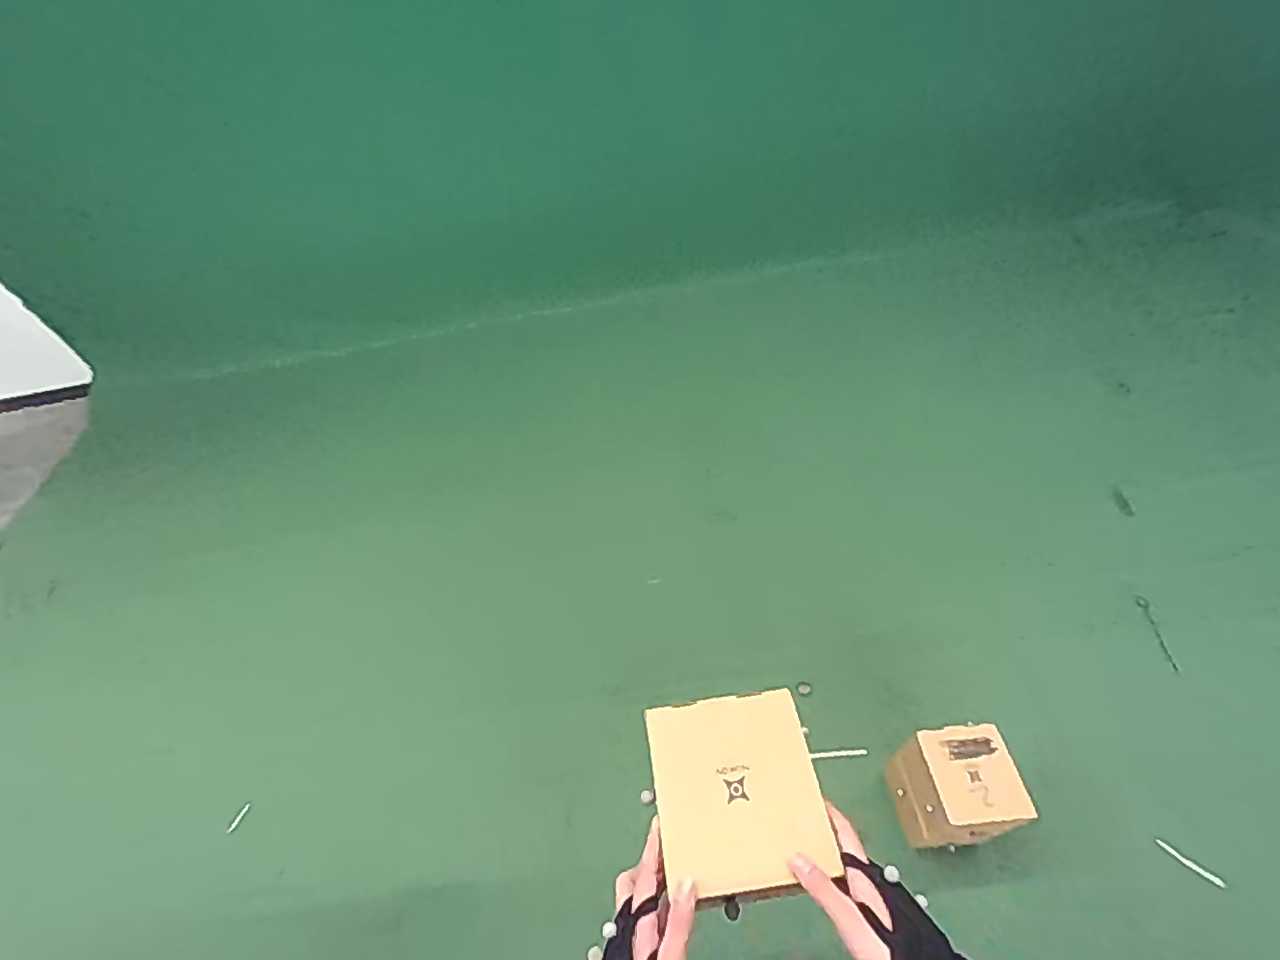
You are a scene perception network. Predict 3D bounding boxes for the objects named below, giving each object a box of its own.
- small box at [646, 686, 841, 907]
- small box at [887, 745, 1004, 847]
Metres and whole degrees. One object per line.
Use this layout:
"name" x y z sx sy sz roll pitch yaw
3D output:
"small box" 0.103 0.357 0.604 0.168 0.176 0.179 -8 47 -1
"small box" 0.703 0.744 1.272 0.168 0.176 0.179 -7 50 5
